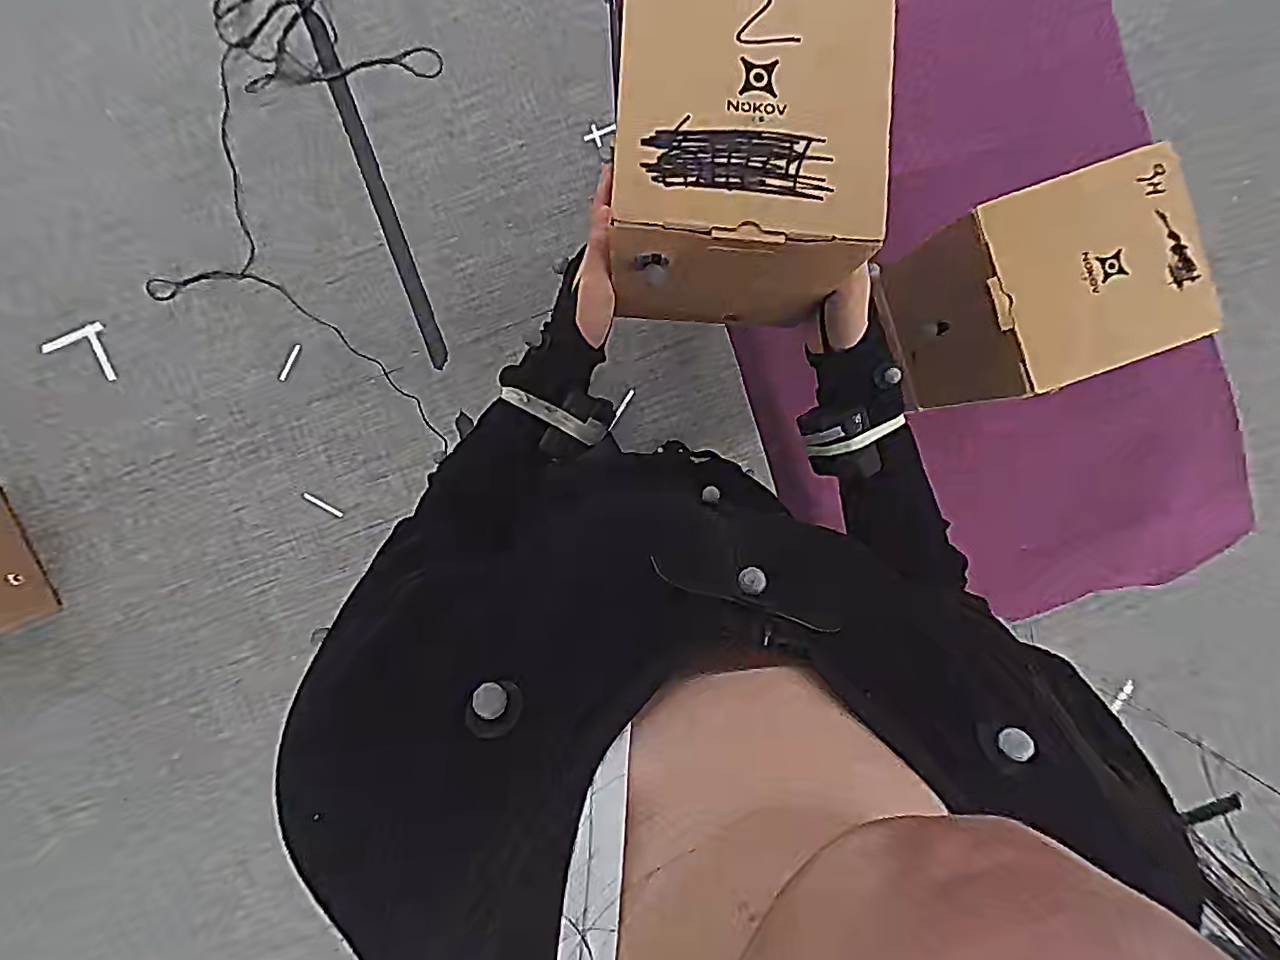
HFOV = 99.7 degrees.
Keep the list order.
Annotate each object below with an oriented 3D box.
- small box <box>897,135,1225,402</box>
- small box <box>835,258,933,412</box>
[{"bbox_3d":[0.378,-0.182,0.526,0.179,0.176,0.168,-19,94,0],"label":"small box"},{"bbox_3d":[0.370,-0.192,0.689,0.179,0.176,0.168,-20,94,-1],"label":"small box"}]
